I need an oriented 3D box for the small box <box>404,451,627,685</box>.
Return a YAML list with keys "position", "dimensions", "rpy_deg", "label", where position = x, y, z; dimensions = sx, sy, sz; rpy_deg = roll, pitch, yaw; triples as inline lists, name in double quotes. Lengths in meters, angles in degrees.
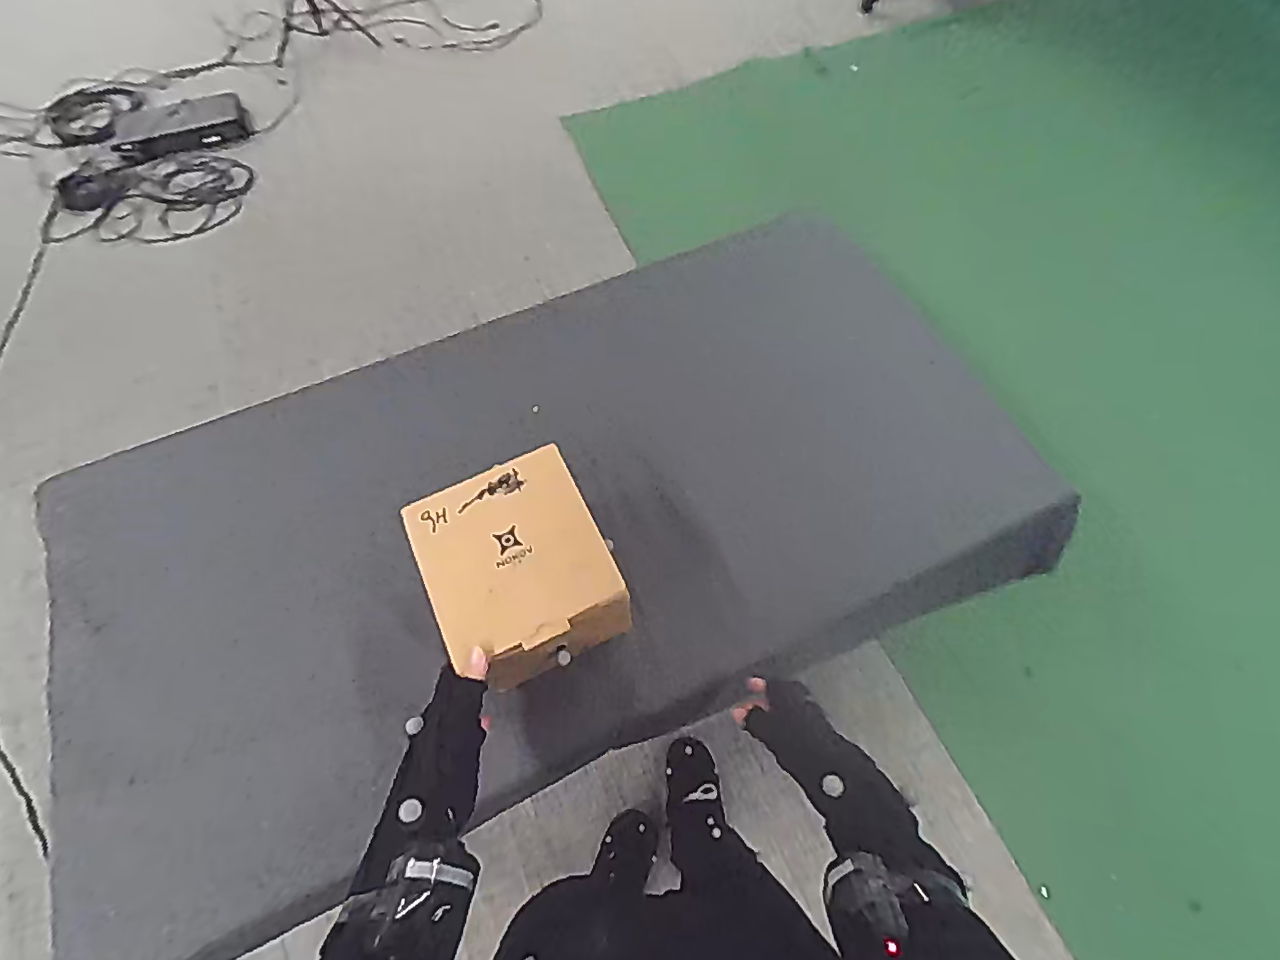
- position: [-0.120, 0.104, 0.583]
  dimensions: [0.168, 0.176, 0.179]
  rpy_deg: [-25, 68, -11]
  label: "small box"
